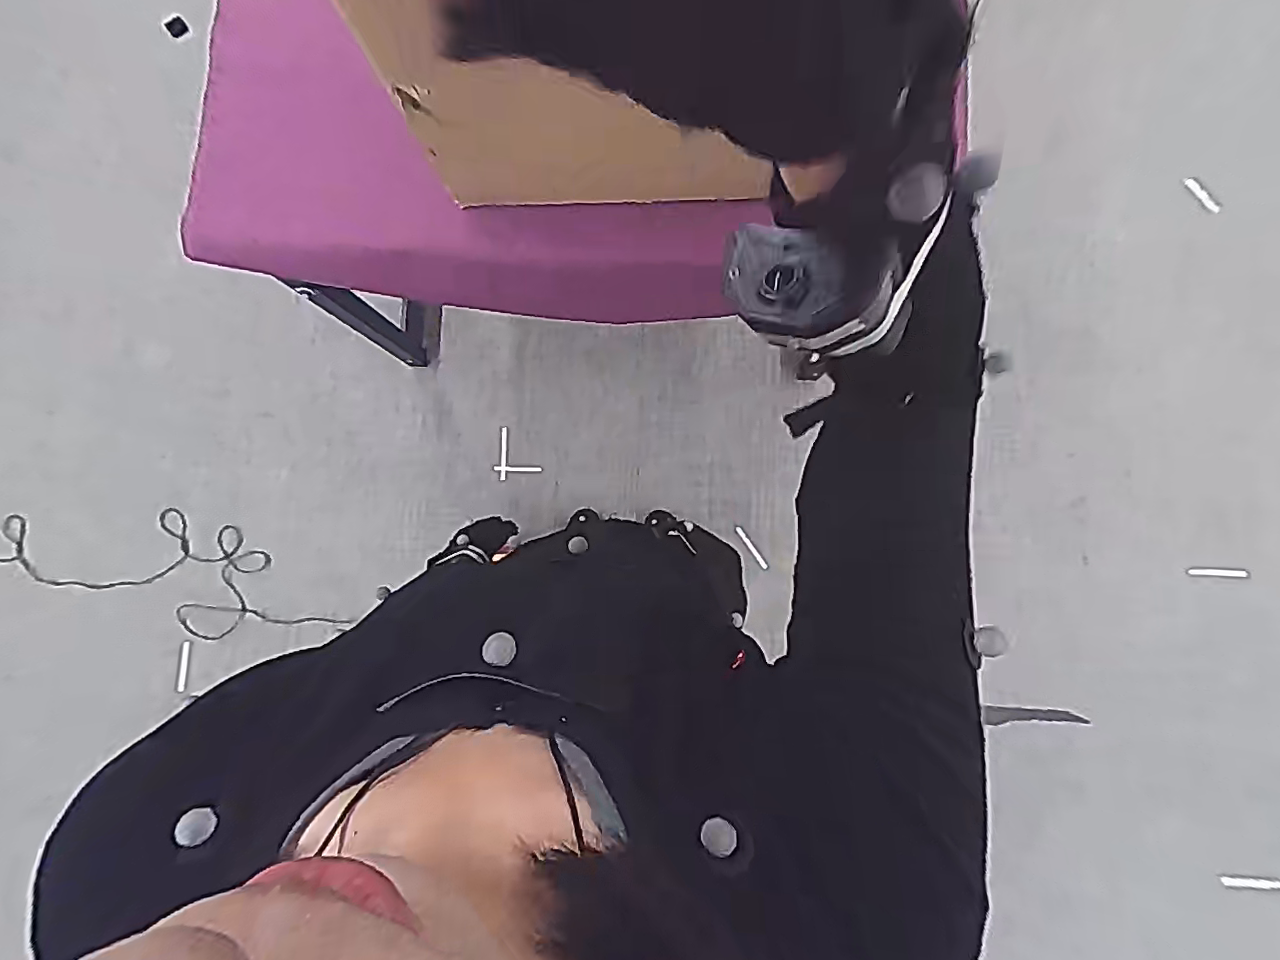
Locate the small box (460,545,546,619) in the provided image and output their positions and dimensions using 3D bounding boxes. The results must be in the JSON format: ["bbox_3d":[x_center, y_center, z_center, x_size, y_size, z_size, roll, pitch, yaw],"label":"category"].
[{"bbox_3d":[-0.358,0.264,1.432,0.179,0.176,0.168,-8,85,-1],"label":"small box"}]
